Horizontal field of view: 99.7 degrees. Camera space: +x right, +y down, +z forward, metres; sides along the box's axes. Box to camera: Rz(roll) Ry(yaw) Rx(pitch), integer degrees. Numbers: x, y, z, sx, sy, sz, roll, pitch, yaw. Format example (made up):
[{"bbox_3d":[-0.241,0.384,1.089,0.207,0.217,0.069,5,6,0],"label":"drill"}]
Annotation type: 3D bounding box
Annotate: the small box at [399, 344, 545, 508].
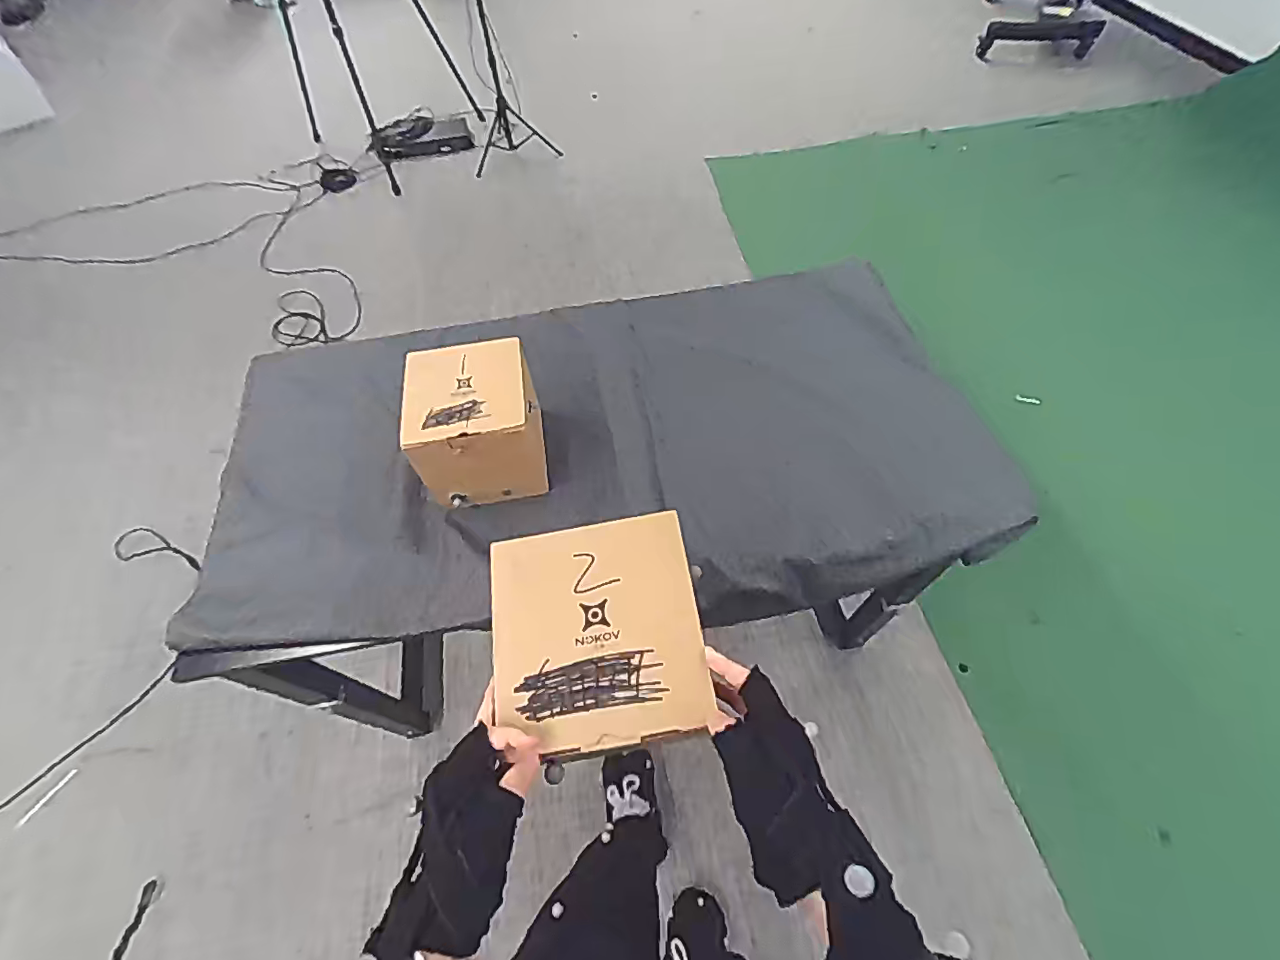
[{"bbox_3d":[-0.242,-0.072,0.811,0.168,0.176,0.179,-9,57,-4],"label":"small box"}]
